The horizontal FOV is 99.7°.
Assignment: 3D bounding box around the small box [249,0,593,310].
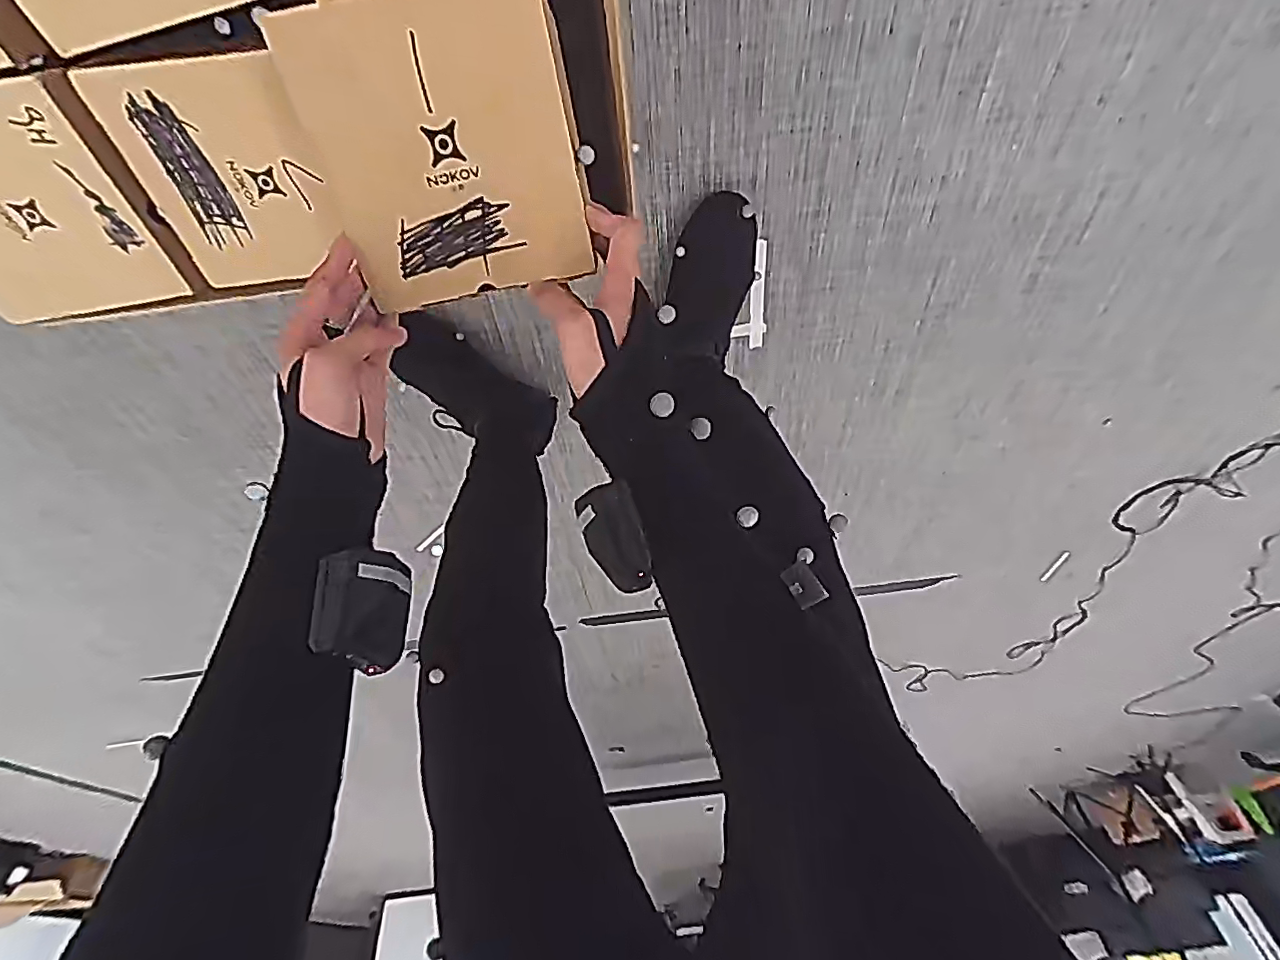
[{"bbox_3d":[-0.132,-0.250,0.413,0.168,0.176,0.179,-11,121,2],"label":"small box"}]
